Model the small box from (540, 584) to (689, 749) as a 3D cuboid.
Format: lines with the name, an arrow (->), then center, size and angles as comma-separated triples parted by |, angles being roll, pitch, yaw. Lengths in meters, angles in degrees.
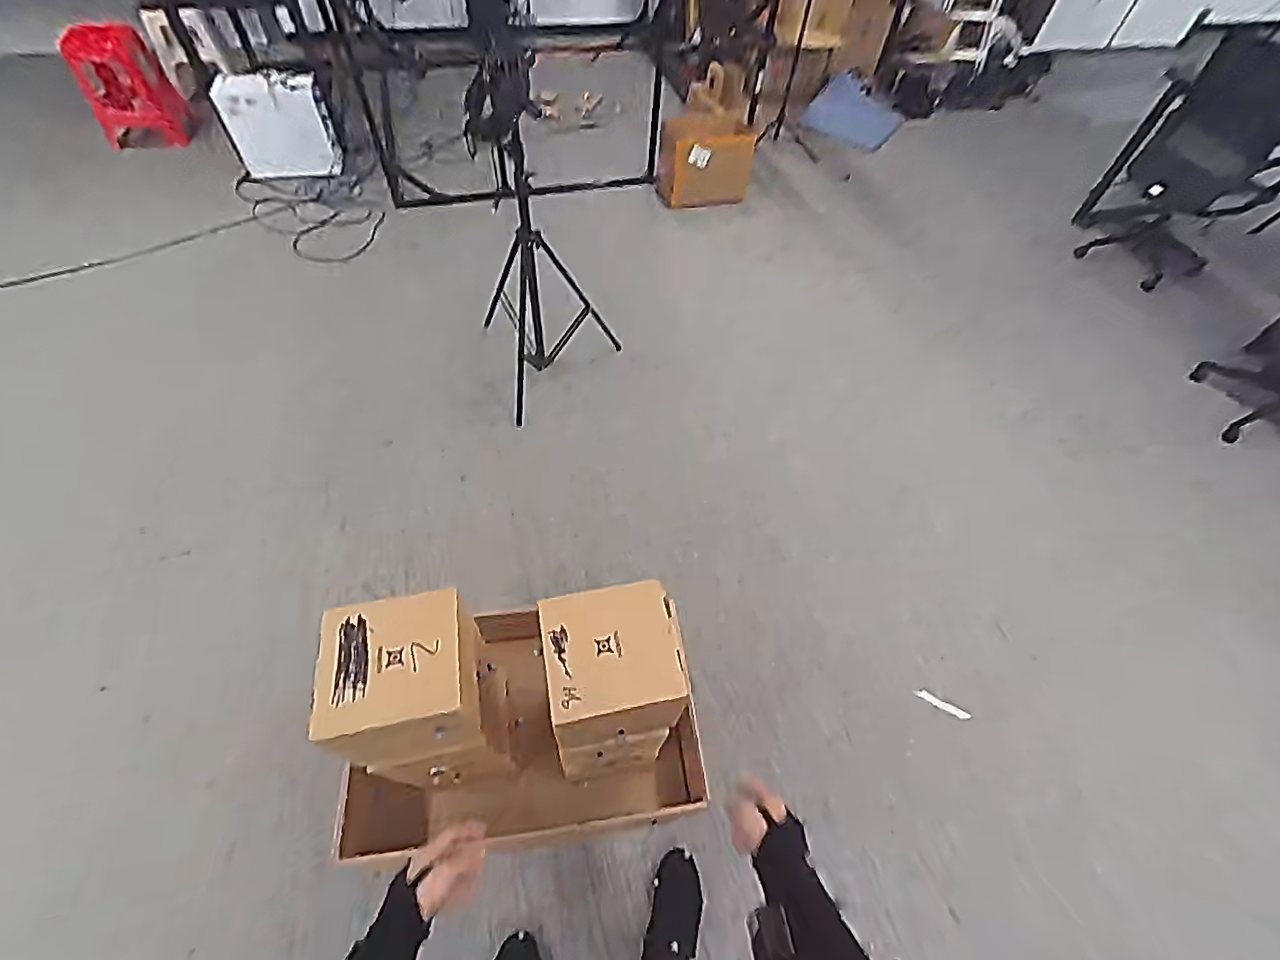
small box -> -0.044, 0.269, 0.774 | 0.179, 0.176, 0.168 | -7, 54, -11

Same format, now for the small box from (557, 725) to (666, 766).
small box -> -0.057, 0.367, 0.905 | 0.168, 0.176, 0.179 | -6, 55, -9

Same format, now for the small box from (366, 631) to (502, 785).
small box -> -0.325, 0.371, 0.878 | 0.168, 0.176, 0.179 | -10, 56, -9

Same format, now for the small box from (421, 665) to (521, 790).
small box -> -0.325, 0.467, 1.012 | 0.179, 0.176, 0.168 | -7, 56, -10
